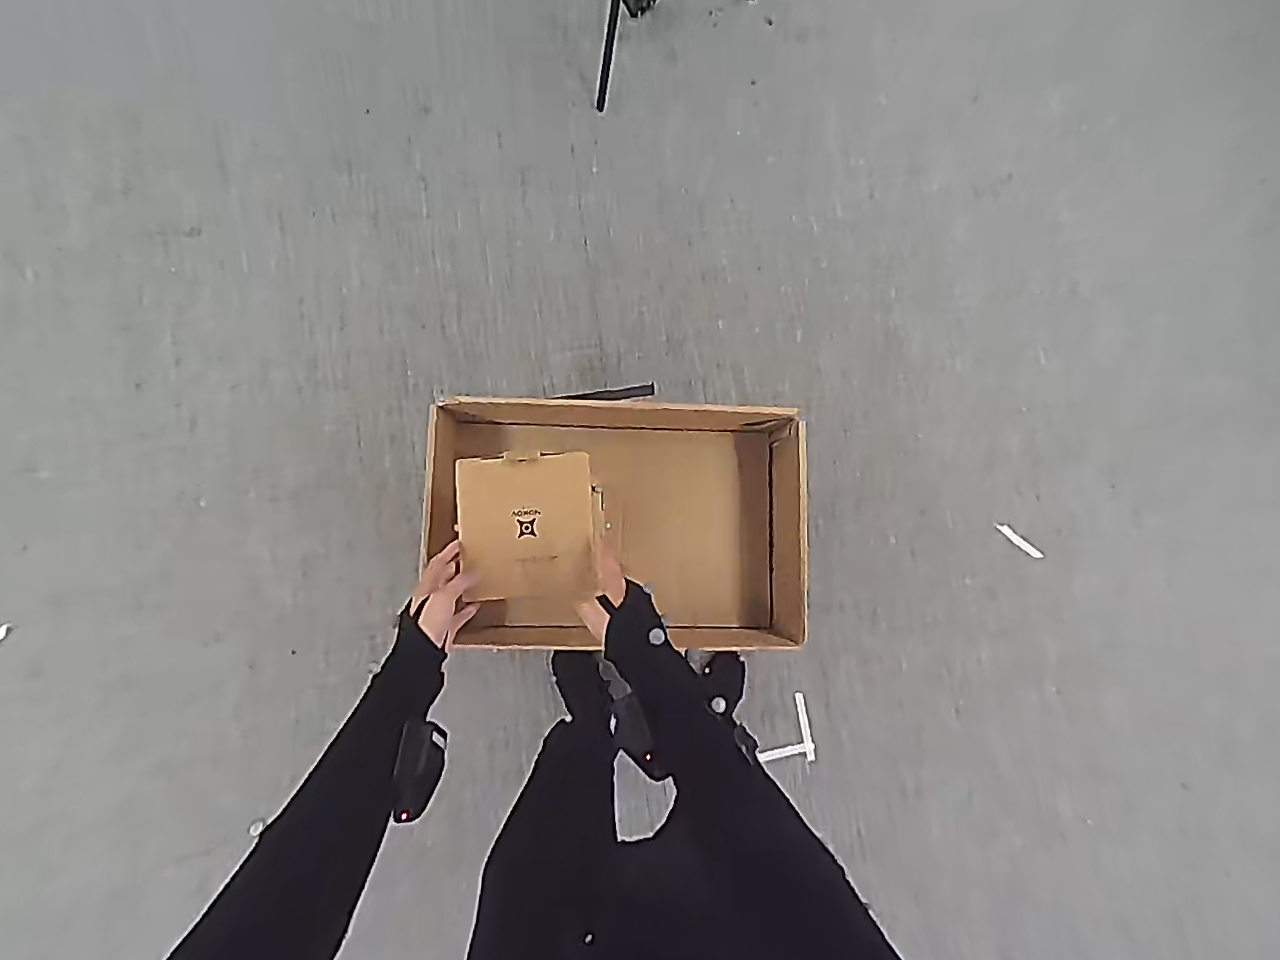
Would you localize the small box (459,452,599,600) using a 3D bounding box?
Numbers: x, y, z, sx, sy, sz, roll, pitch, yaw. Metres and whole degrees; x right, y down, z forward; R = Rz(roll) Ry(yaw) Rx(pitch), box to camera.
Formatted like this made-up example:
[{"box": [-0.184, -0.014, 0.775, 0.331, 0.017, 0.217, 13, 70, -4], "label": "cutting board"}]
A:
[{"box": [-0.145, 0.064, 0.743, 0.168, 0.176, 0.179, -4, 84, -5], "label": "small box"}]

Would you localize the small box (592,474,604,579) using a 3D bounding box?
[{"box": [-0.150, 0.081, 0.907, 0.179, 0.176, 0.168, -1, 85, -6], "label": "small box"}]
